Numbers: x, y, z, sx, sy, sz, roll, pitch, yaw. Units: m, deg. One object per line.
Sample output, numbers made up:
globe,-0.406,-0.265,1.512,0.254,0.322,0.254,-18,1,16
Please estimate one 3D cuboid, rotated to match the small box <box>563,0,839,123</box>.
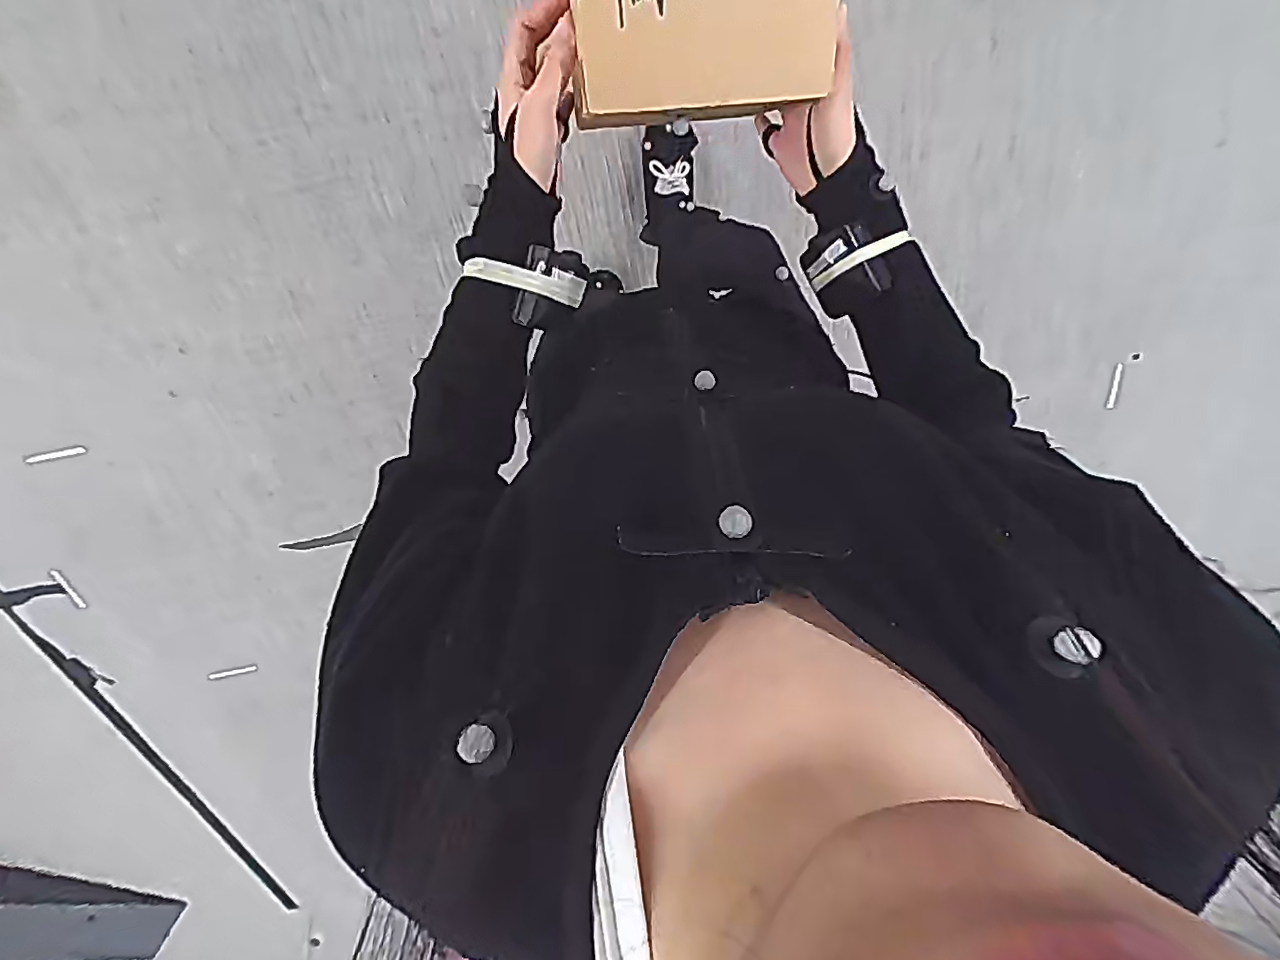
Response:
small box,0.031,-0.369,0.397,0.179,0.176,0.168,-8,121,-6
